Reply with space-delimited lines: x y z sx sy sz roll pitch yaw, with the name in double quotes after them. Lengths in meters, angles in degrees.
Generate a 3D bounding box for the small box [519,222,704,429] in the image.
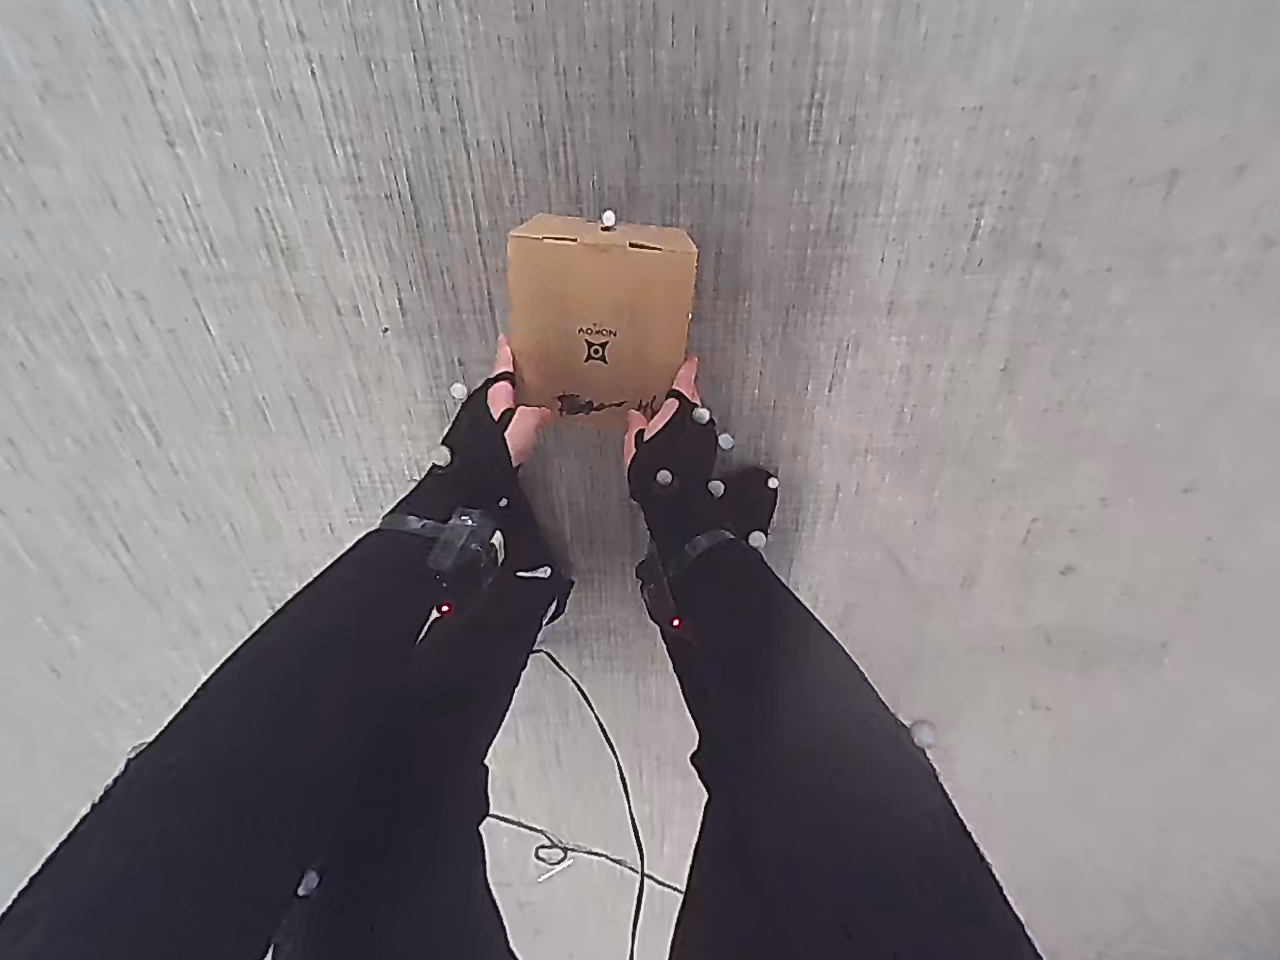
-0.034 -0.172 0.580 0.168 0.176 0.179 4 119 -3 "small box"
